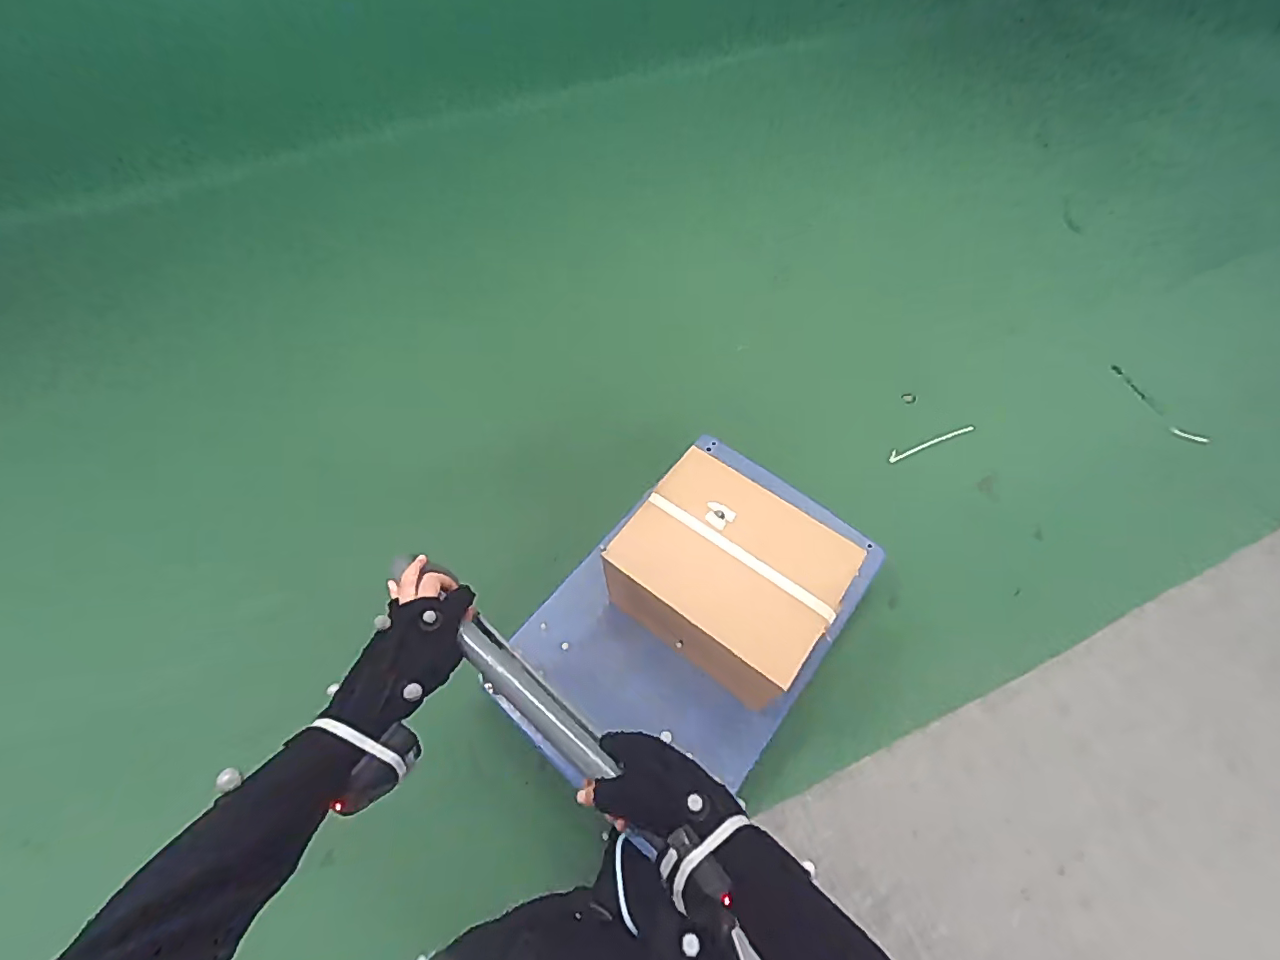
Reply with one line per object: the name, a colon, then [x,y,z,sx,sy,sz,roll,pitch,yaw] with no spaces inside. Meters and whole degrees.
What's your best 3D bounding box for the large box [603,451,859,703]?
large box: [0.181,0.214,1.166,0.408,0.320,0.320,32,65,18]
